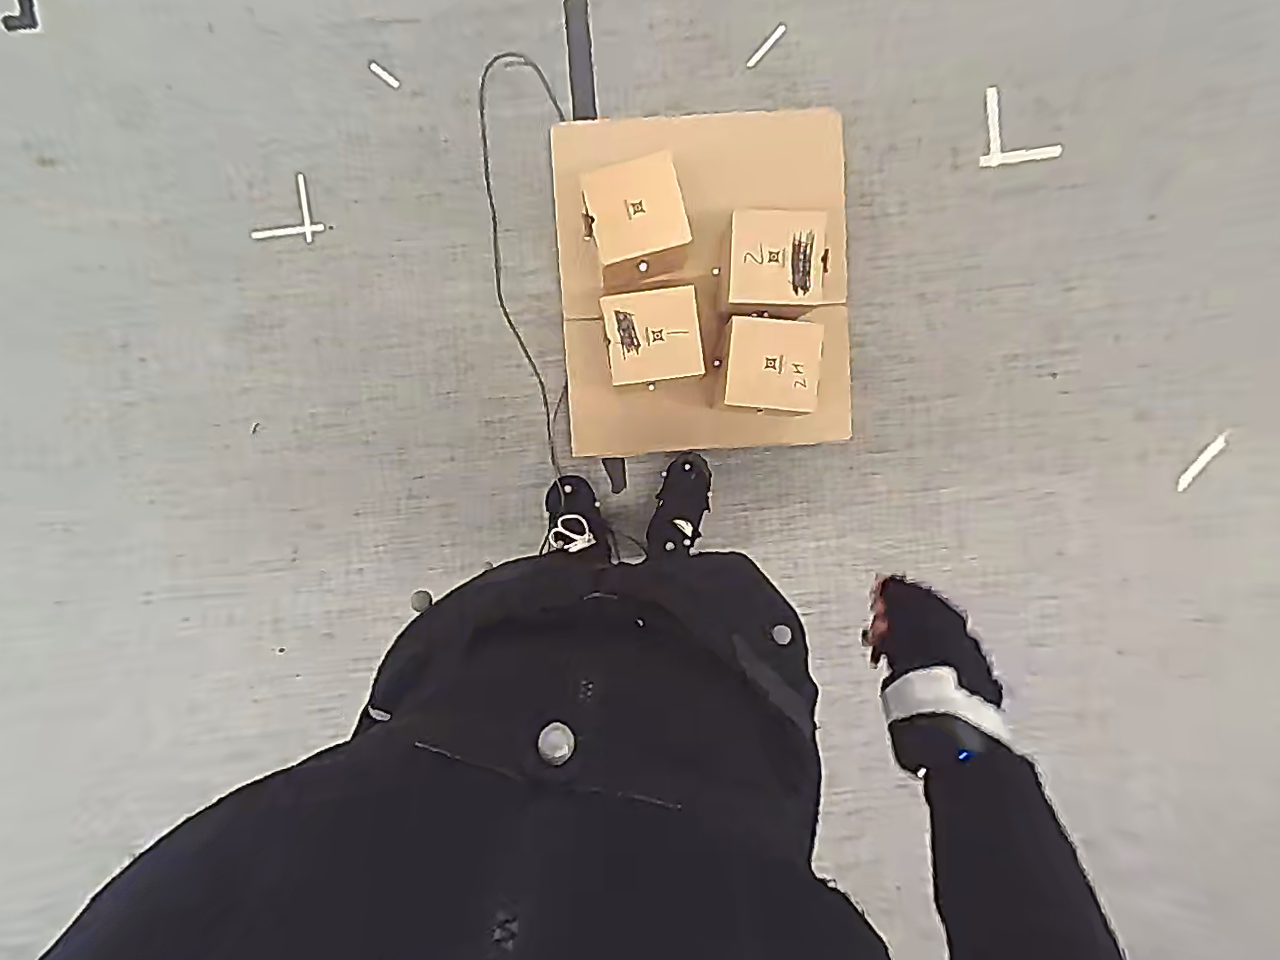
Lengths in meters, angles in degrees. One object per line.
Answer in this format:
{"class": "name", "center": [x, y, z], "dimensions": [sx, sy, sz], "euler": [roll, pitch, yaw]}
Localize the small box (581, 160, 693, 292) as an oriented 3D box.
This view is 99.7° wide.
{"class": "small box", "center": [-0.007, -0.489, 1.065], "dimensions": [0.179, 0.176, 0.168], "euler": [-15, 94, 1]}
